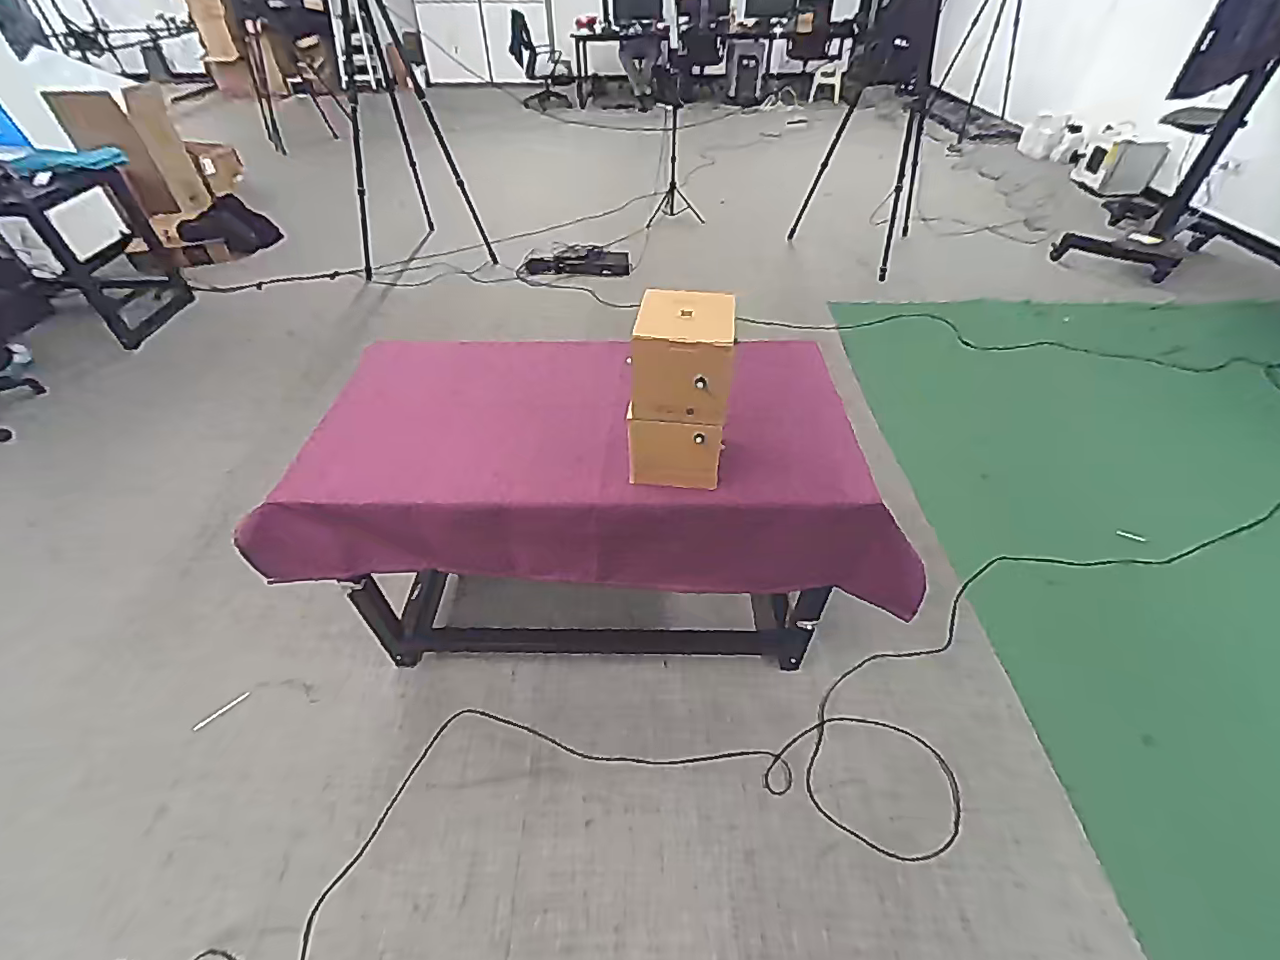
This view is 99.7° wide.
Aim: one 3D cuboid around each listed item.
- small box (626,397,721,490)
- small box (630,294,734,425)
[{"bbox_3d":[0.070,-0.097,1.091,0.179,0.176,0.168,5,43,5],"label":"small box"},{"bbox_3d":[0.077,-0.218,0.982,0.168,0.176,0.179,7,43,6],"label":"small box"}]
